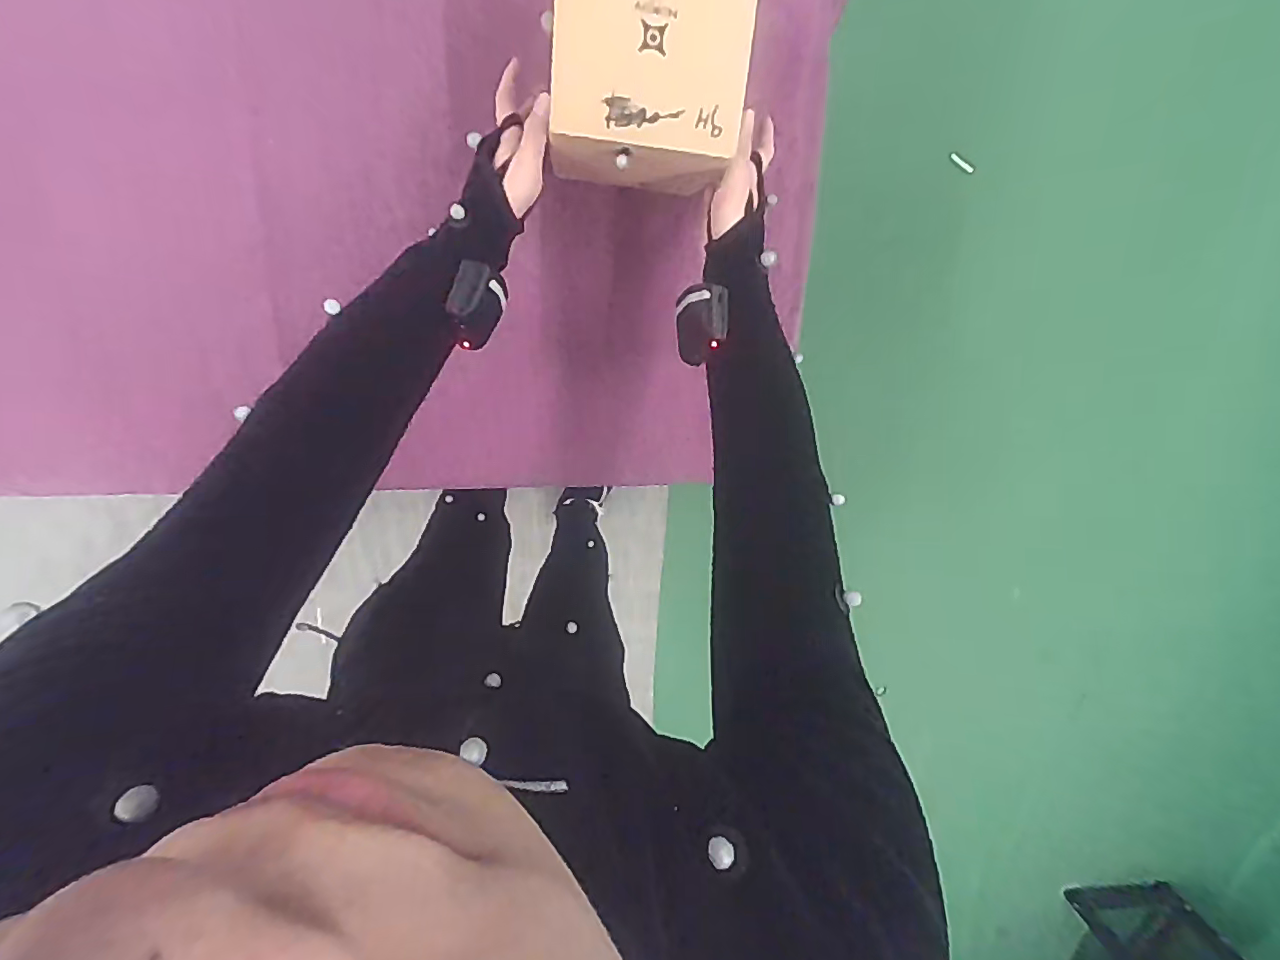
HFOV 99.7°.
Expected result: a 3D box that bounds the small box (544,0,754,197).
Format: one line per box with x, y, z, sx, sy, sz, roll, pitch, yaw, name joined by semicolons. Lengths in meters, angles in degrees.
-0.001;-0.391;0.514;0.168;0.176;0.179;4;107;-8;small box
